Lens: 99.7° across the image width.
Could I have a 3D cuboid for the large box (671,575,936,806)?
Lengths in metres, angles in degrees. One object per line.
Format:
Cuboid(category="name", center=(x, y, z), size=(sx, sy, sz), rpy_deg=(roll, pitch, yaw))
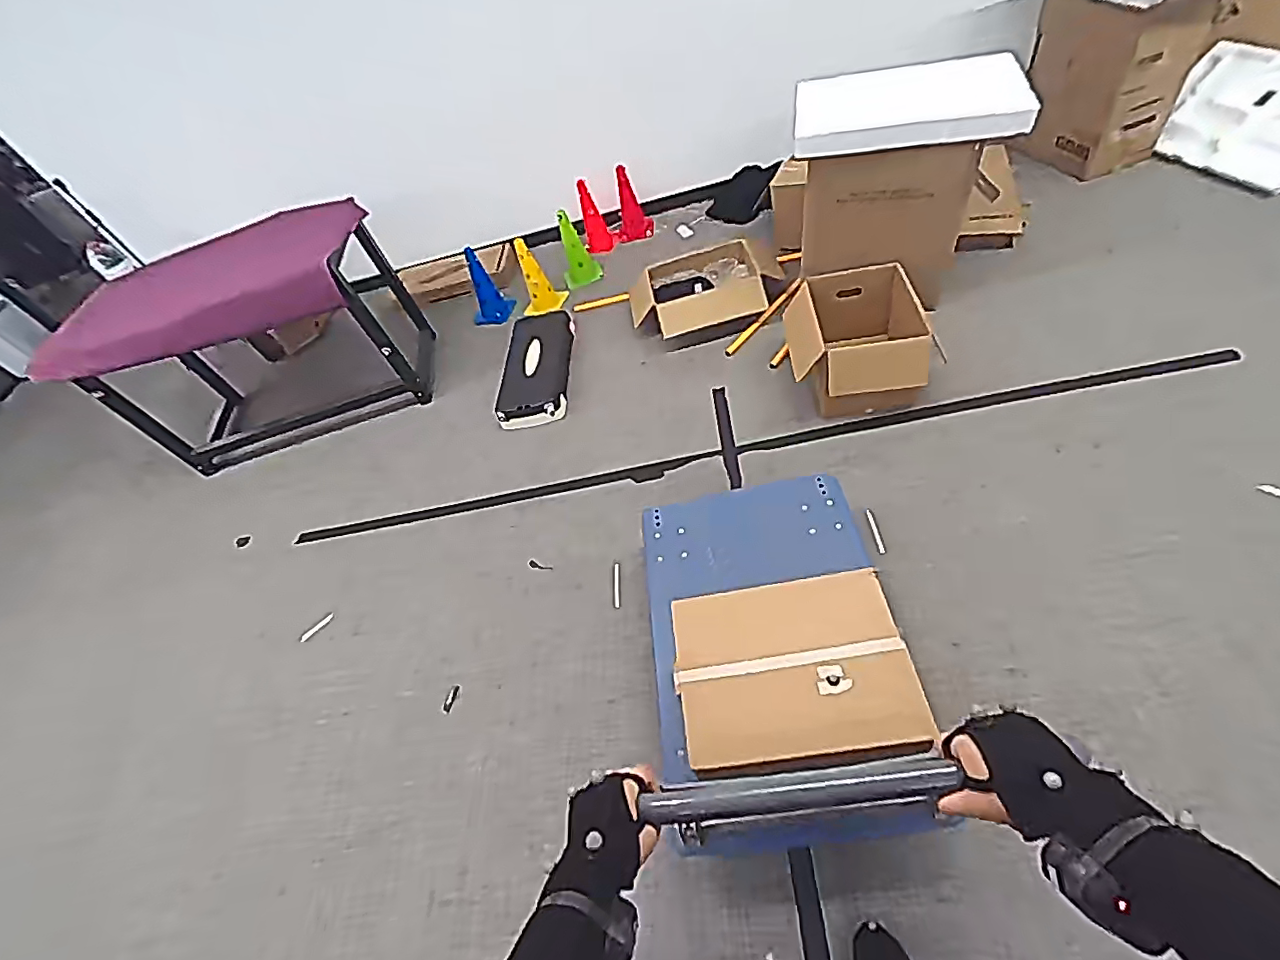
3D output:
Cuboid(category="large box", center=(0.296, 0.430, 1.081), size=(0.408, 0.320, 0.320), rpy_deg=(-11, 50, 7))
